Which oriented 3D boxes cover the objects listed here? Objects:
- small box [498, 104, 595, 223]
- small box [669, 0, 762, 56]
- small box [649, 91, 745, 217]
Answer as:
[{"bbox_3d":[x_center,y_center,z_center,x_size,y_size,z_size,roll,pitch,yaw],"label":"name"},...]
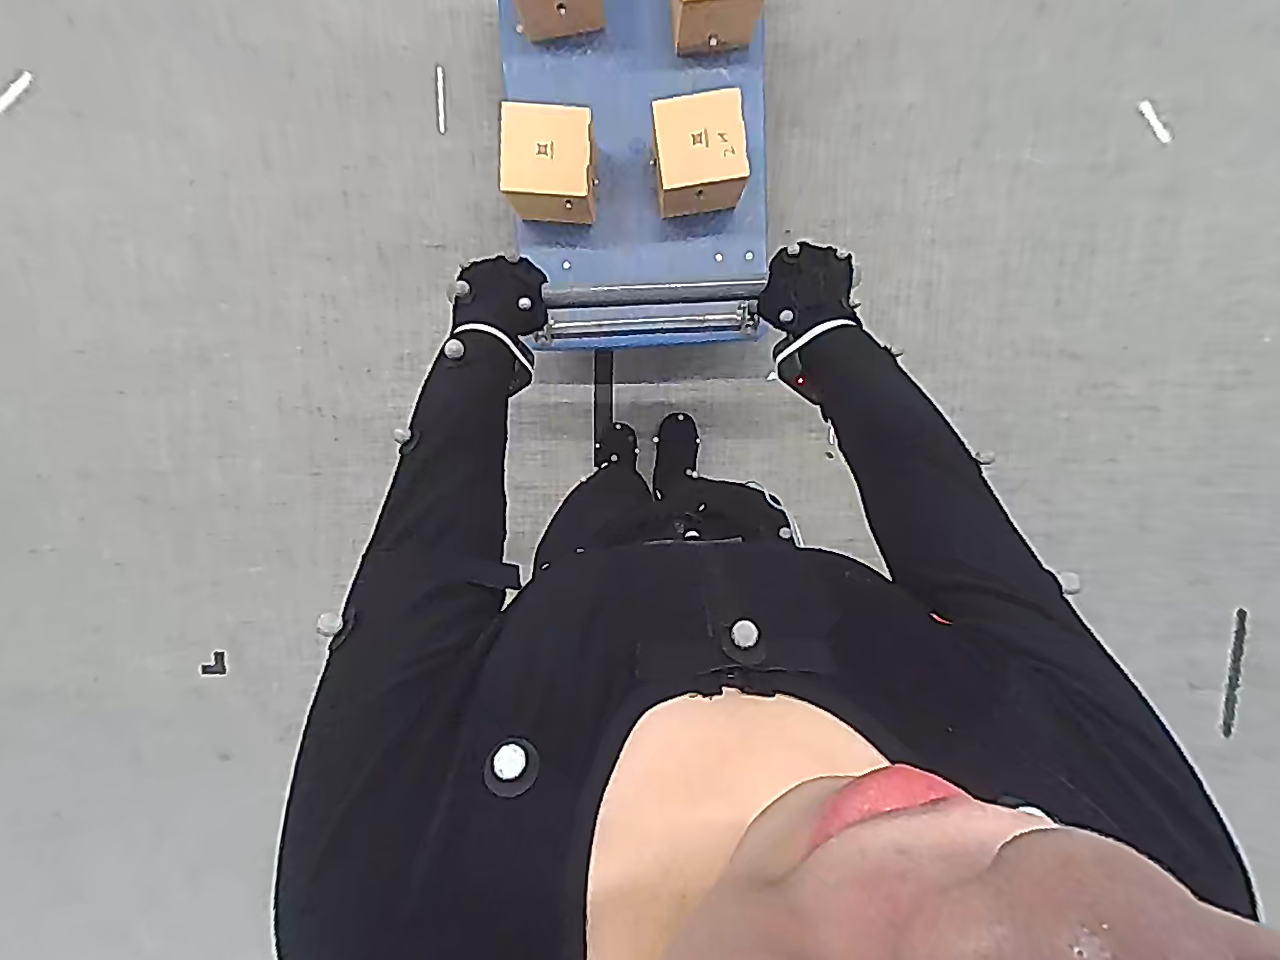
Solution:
[{"bbox_3d":[-0.191,-0.659,1.145,0.179,0.176,0.168,3,98,-2],"label":"small box"},{"bbox_3d":[0.146,-1.010,1.094,0.168,0.176,0.179,-6,99,1],"label":"small box"},{"bbox_3d":[0.115,-0.676,1.141,0.179,0.176,0.168,-8,98,2],"label":"small box"}]
